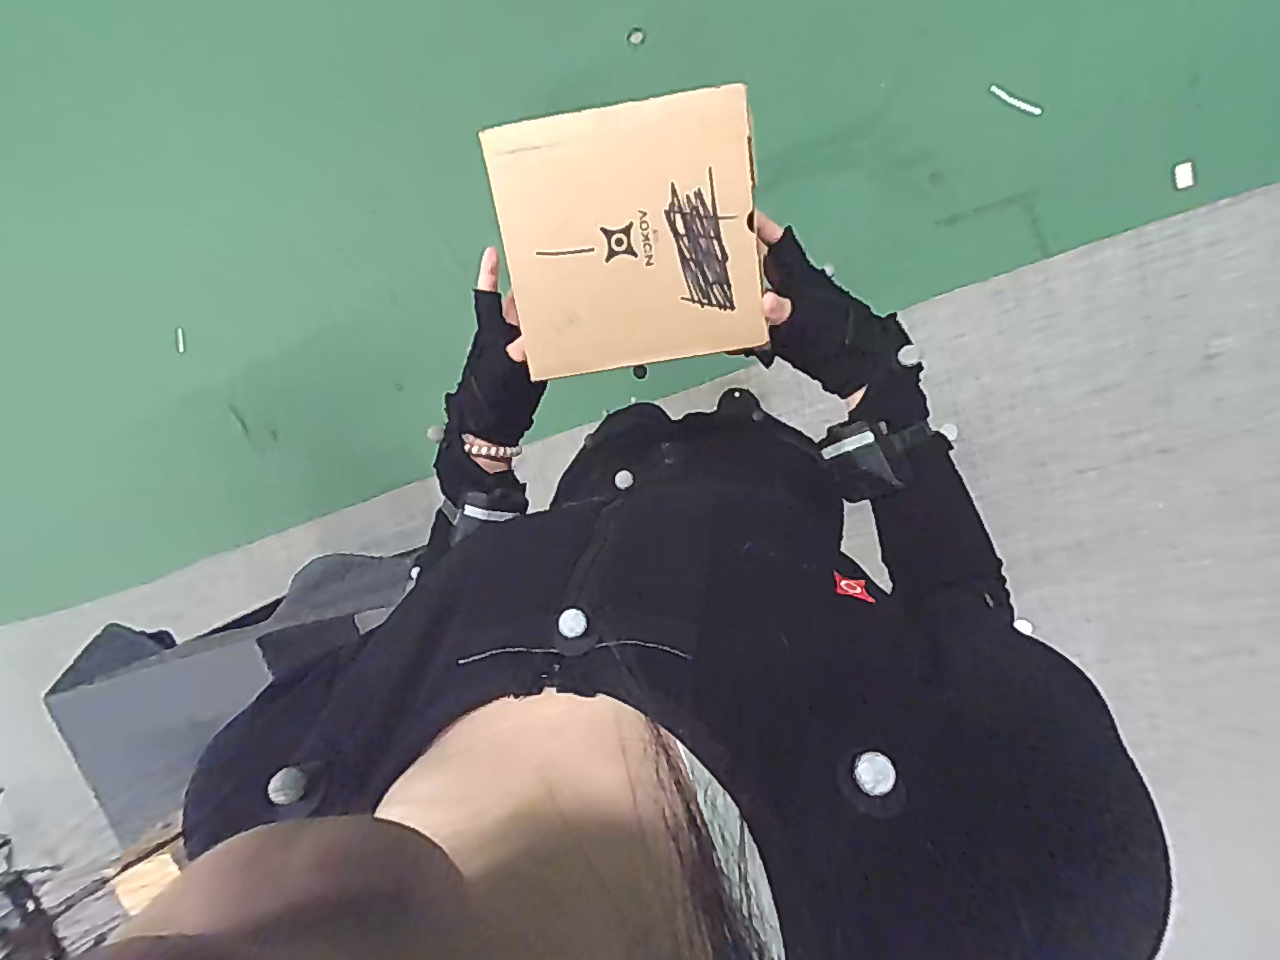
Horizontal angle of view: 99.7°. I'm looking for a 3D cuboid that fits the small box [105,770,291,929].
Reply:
[{"bbox_3d":[-0.799,0.671,0.994,0.179,0.176,0.168,-20,99,16],"label":"small box"}]
